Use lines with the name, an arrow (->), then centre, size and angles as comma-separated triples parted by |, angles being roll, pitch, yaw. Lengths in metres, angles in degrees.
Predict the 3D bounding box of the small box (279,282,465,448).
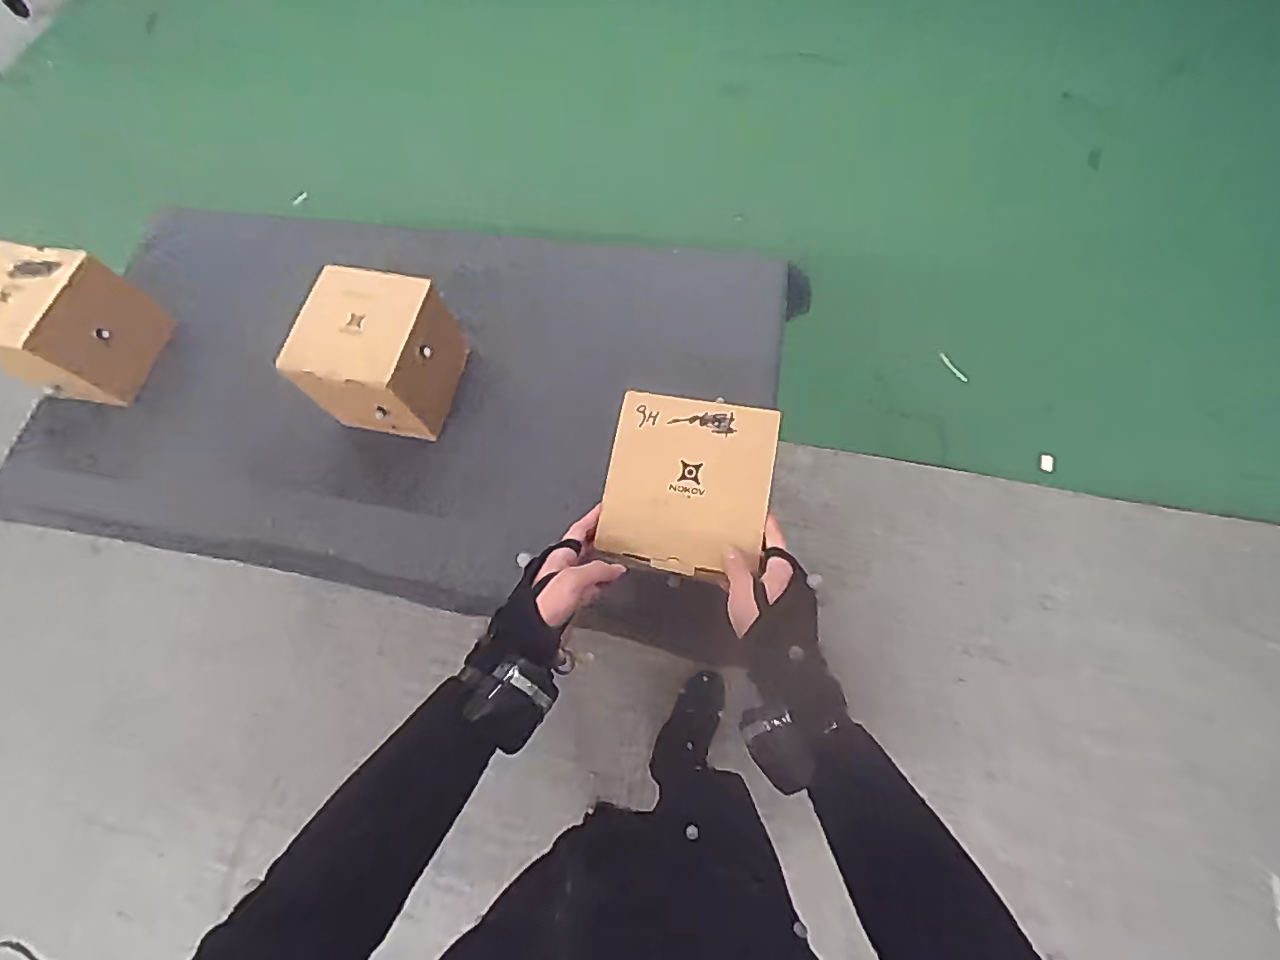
small box -> -0.385, -0.165, 0.816 | 0.168, 0.176, 0.179 | 10, 69, 6

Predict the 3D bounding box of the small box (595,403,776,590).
small box -> 0.056, 0.029, 0.634 | 0.168, 0.176, 0.179 | 9, 78, 8

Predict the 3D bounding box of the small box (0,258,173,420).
small box -> -0.912, -0.220, 0.864 | 0.168, 0.176, 0.179 | 8, 70, 6
